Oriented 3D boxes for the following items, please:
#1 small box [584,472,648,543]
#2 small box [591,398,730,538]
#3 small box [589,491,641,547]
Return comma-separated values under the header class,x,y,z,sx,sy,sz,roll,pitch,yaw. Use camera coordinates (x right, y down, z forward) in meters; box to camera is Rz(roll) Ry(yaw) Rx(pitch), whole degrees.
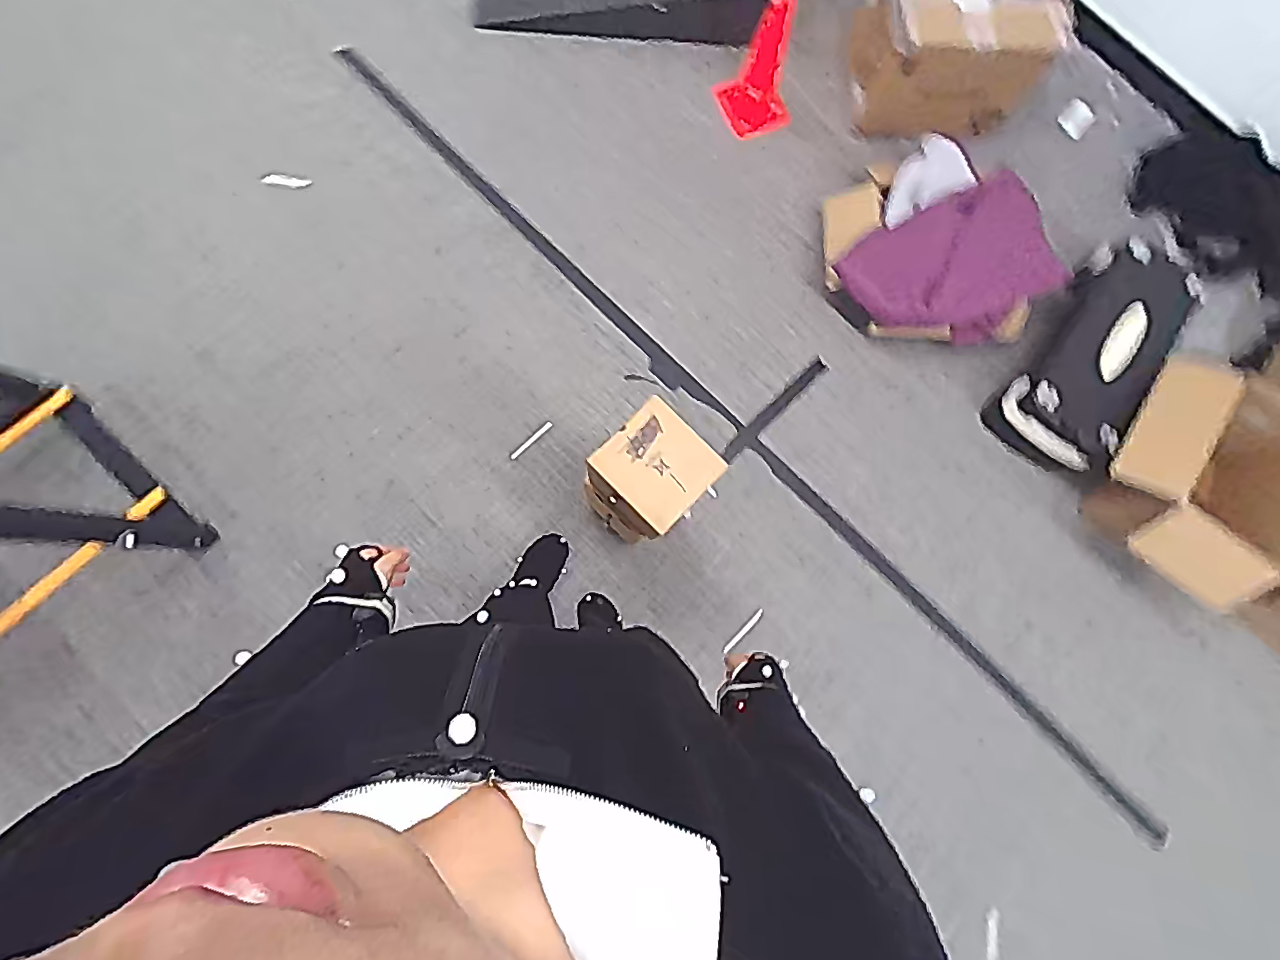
class,x,y,z,sx,sy,sz,roll,pitch,yaw
small box,0.004,0.017,1.129,0.179,0.176,0.168,-43,86,-9
small box,0.028,-0.011,0.967,0.168,0.176,0.179,-44,86,-10
small box,-0.006,0.043,1.290,0.179,0.176,0.168,-43,85,-9
